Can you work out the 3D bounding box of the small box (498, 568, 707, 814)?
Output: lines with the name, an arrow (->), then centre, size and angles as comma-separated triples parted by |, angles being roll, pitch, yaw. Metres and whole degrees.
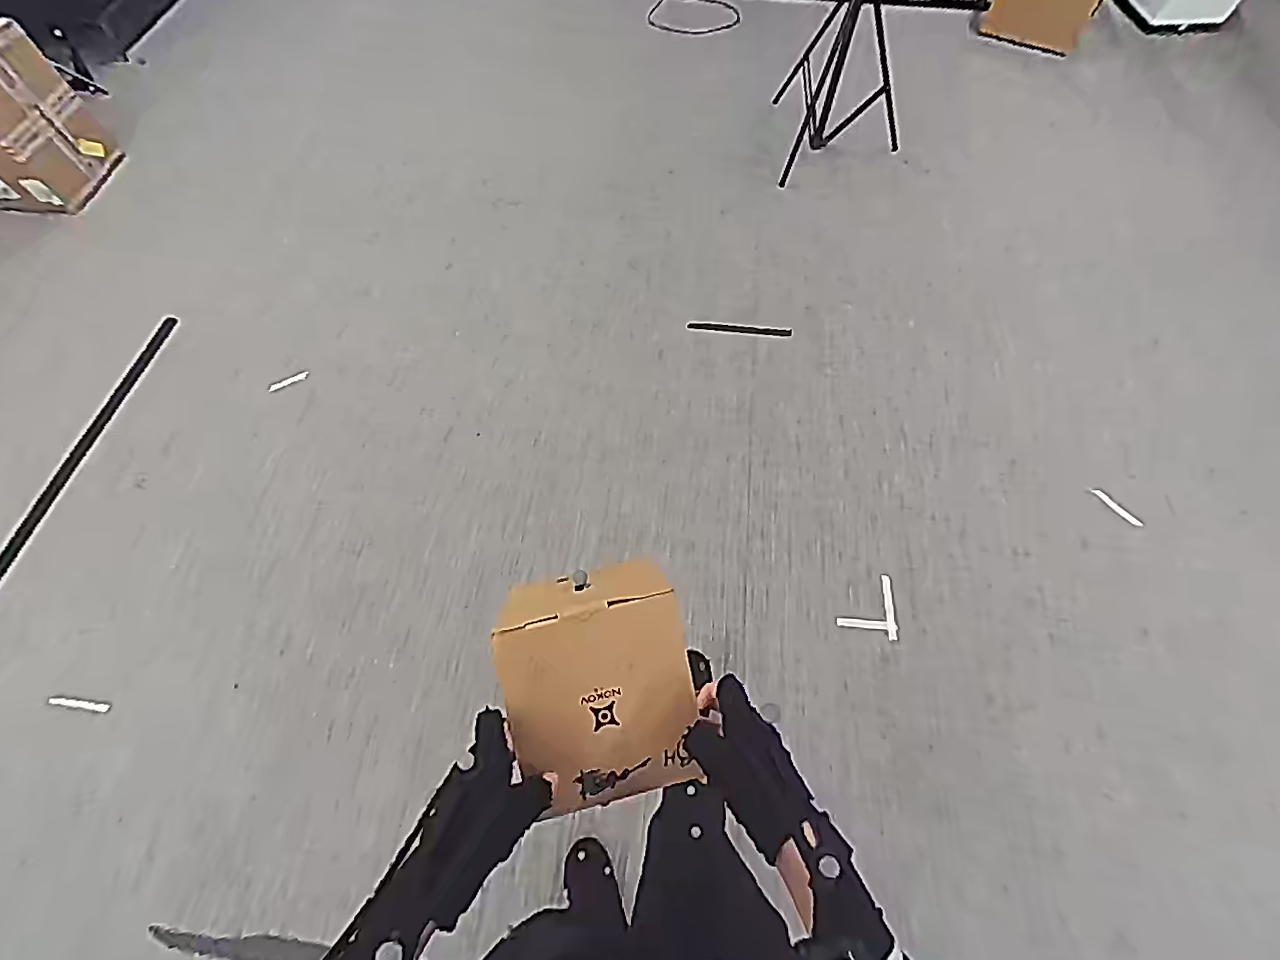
small box -> -0.042, 0.195, 0.561 | 0.168, 0.176, 0.179 | -11, 92, -7
